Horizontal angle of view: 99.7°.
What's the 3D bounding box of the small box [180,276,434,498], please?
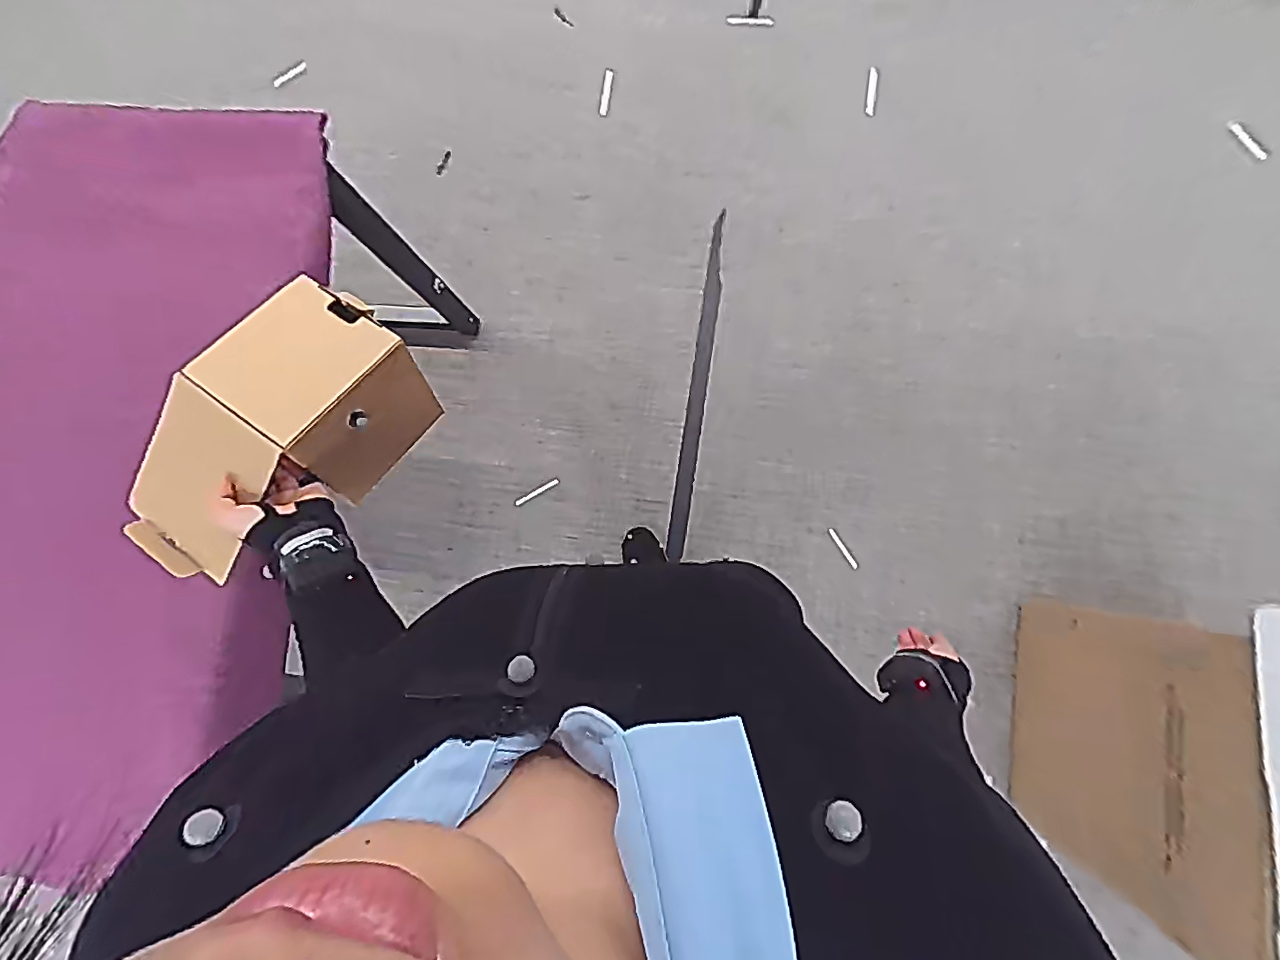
[{"bbox_3d":[-0.390,-0.106,0.673,0.168,0.176,0.179,33,69,11],"label":"small box"}]
